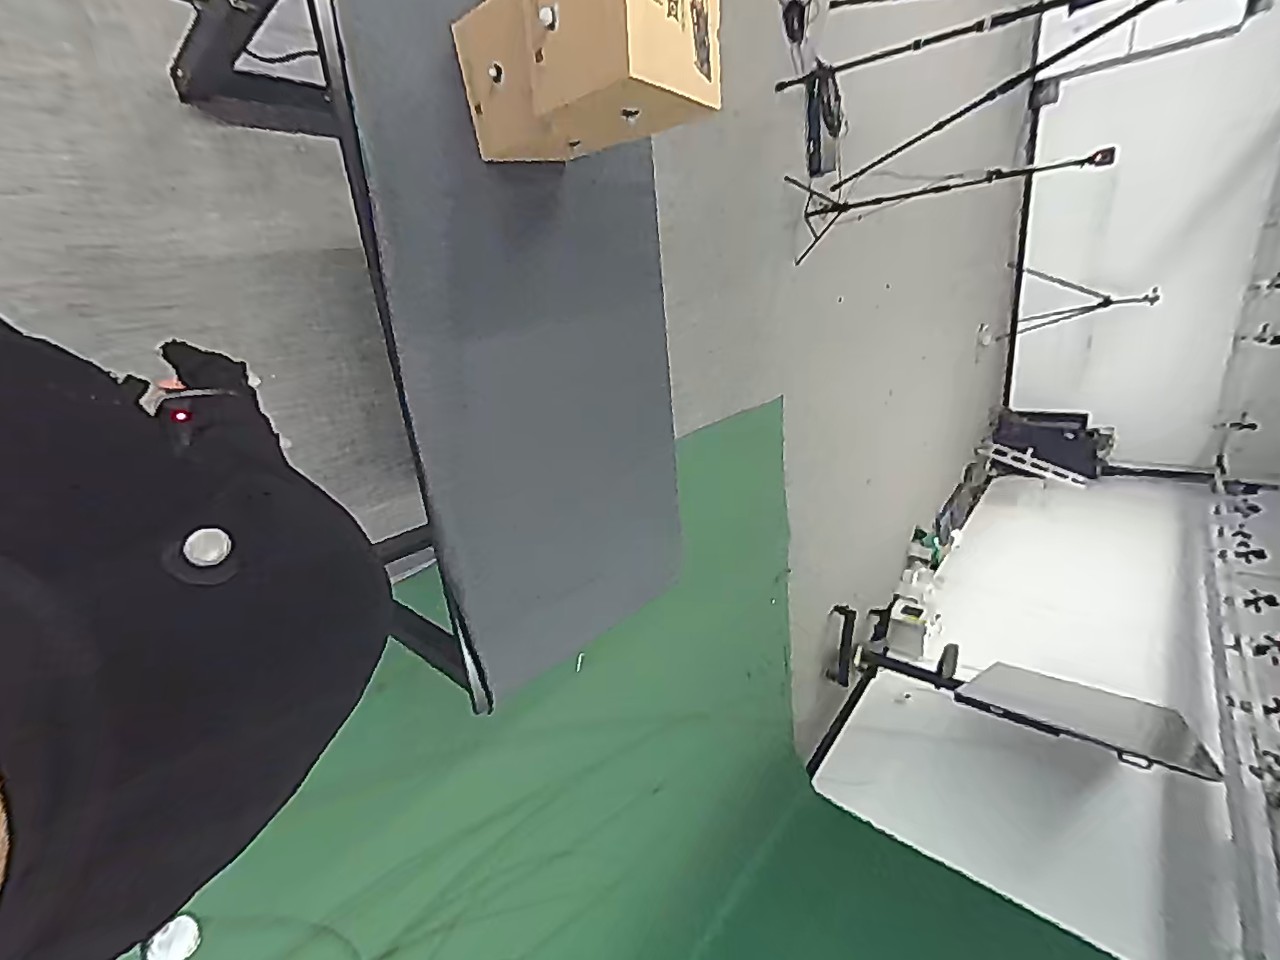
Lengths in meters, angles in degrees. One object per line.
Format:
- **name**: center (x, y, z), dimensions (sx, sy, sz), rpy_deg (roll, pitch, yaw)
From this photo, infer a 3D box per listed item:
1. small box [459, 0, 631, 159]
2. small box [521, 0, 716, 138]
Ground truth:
- **small box**: center (-0.137, -0.572, 0.779), dimensions (0.179, 0.176, 0.168), rpy_deg (-32, 122, -42)
- **small box**: center (-0.023, -0.541, 0.663), dimensions (0.179, 0.176, 0.168), rpy_deg (-21, 115, -44)
